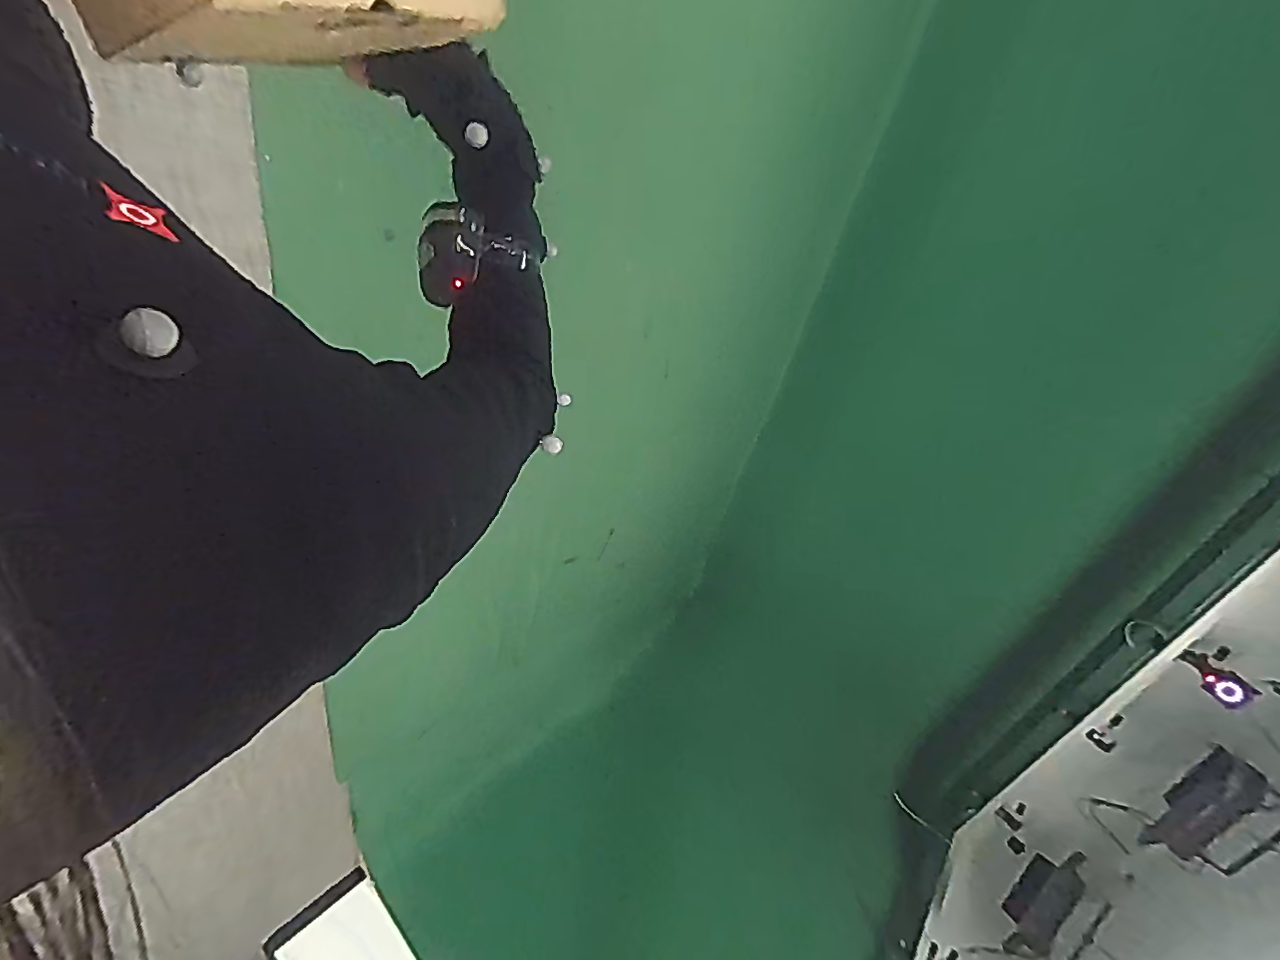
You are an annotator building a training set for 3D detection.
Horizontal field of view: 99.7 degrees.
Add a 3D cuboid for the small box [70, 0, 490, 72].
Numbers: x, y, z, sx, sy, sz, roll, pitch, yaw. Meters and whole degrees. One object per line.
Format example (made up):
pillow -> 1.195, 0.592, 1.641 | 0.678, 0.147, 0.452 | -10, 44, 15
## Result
small box -> -0.213, -0.332, 0.284 | 0.168, 0.176, 0.179 | -41, 135, -42
